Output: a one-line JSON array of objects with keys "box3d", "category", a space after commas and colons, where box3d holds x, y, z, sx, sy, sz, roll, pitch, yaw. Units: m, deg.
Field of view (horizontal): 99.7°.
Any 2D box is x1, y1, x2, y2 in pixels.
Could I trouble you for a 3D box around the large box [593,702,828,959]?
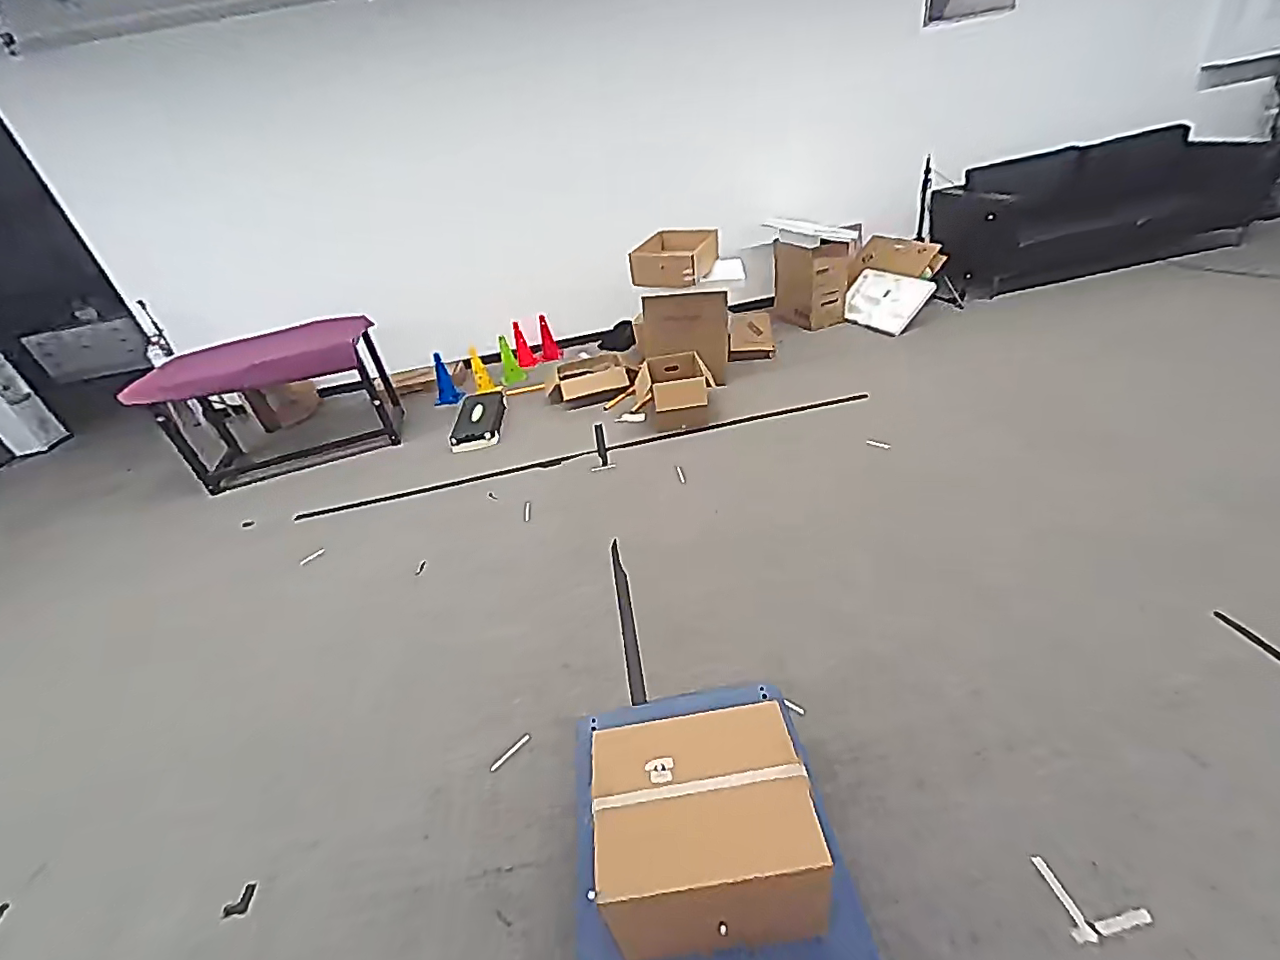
[{"box3d": [0.135, 0.718, 1.117, 0.408, 0.320, 0.320, -11, 32, 1], "category": "large box"}]
